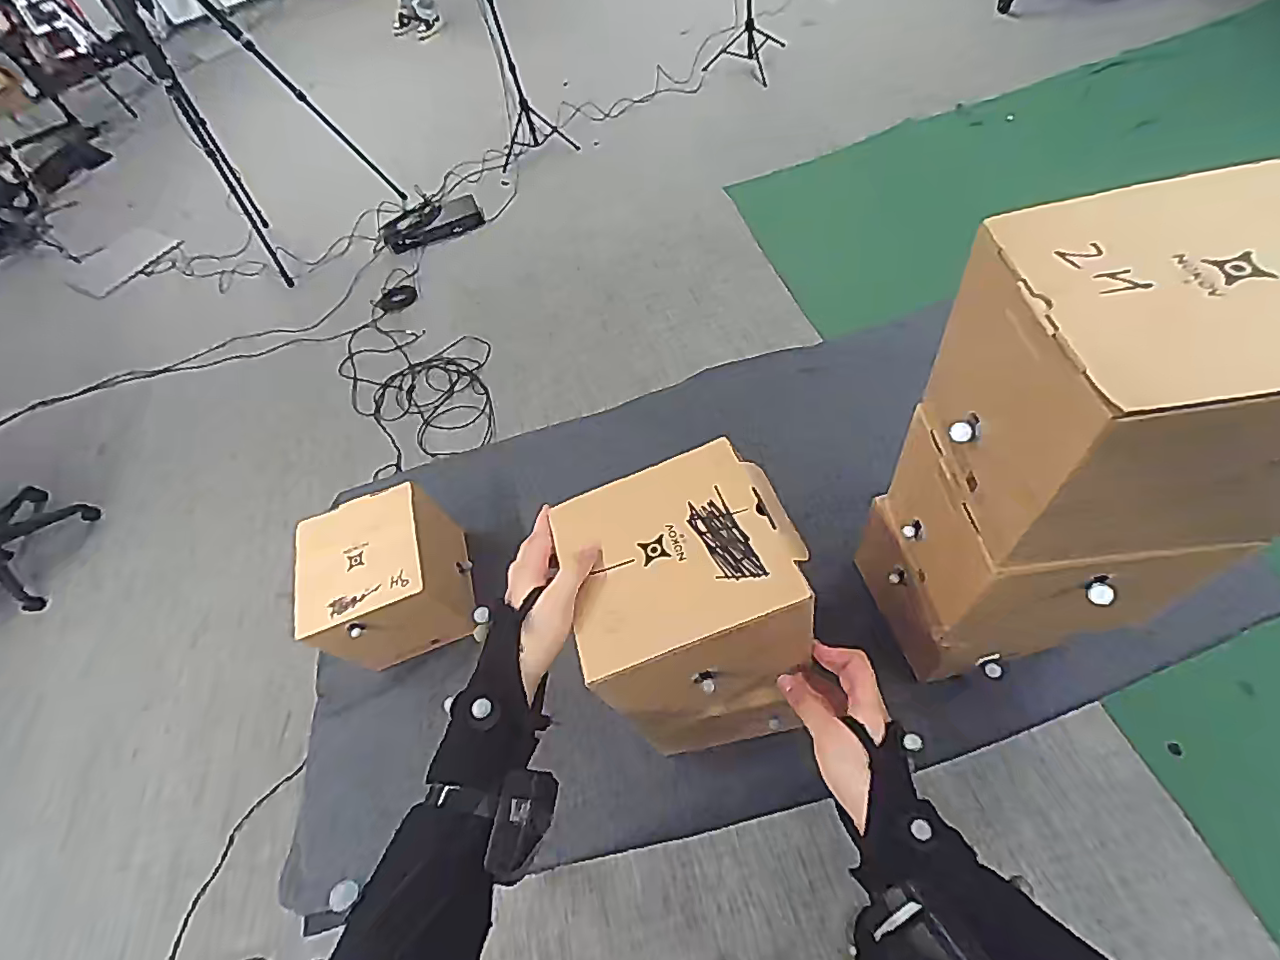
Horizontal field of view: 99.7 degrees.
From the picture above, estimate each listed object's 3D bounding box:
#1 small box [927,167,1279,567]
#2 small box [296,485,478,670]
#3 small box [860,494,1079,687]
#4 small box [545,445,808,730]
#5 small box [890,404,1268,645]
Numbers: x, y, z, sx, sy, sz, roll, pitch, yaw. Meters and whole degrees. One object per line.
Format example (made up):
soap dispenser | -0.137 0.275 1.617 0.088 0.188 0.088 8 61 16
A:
small box | 0.314 -0.058 0.344 0.179 0.176 0.168 -8 55 10
small box | -0.348 0.142 0.764 0.168 0.176 0.179 -21 56 -2
small box | 0.373 0.112 0.618 0.168 0.176 0.179 -18 55 2
small box | 0.036 0.104 0.493 0.179 0.176 0.168 -22 51 2
small box | 0.345 0.035 0.477 0.179 0.176 0.168 -10 55 9
